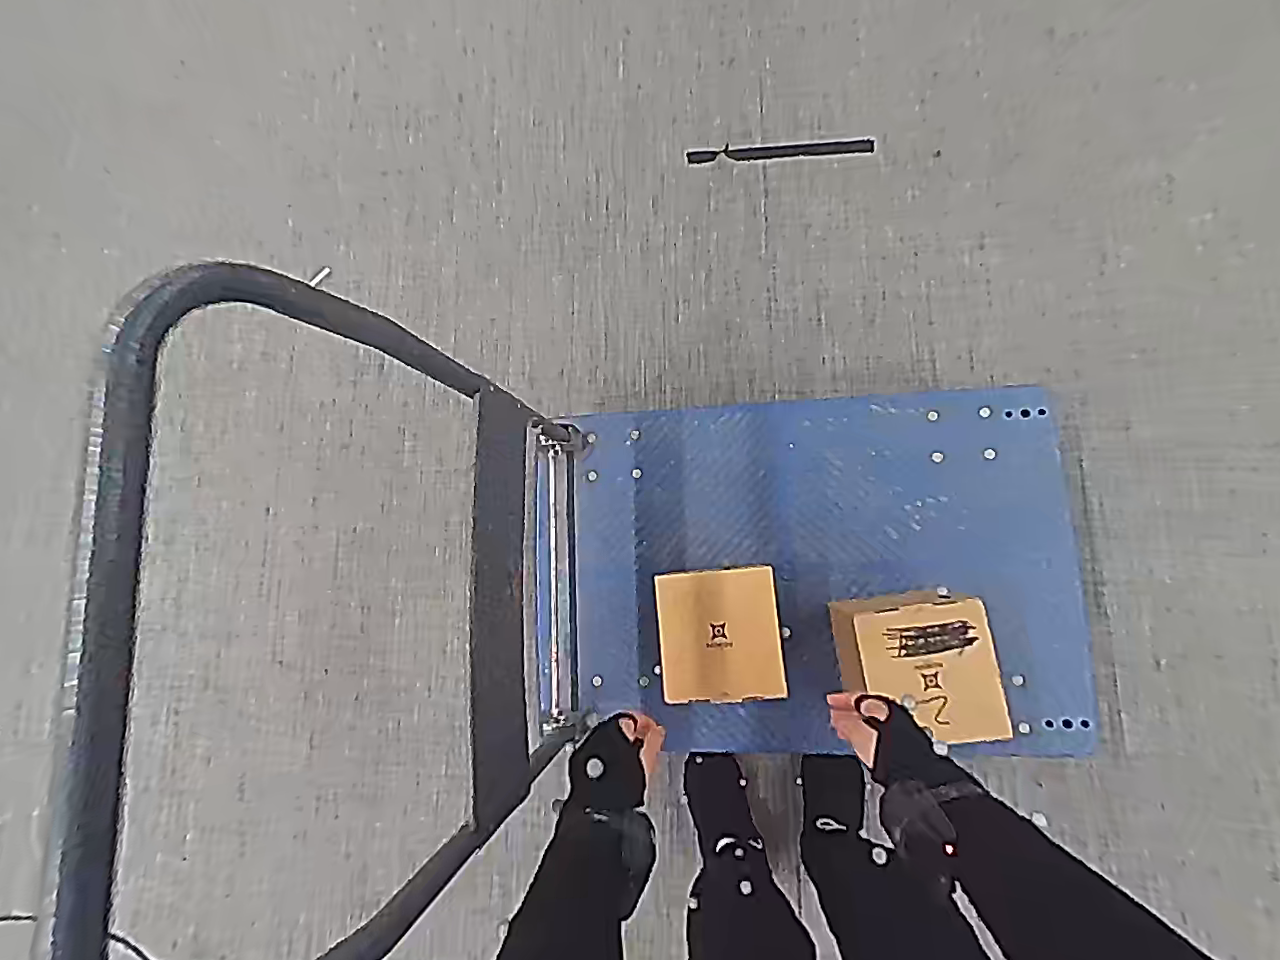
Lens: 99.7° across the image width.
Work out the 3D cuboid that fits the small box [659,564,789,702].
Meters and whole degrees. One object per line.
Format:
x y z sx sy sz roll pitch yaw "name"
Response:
0.120 0.219 0.813 0.168 0.176 0.179 -6 82 7 "small box"
